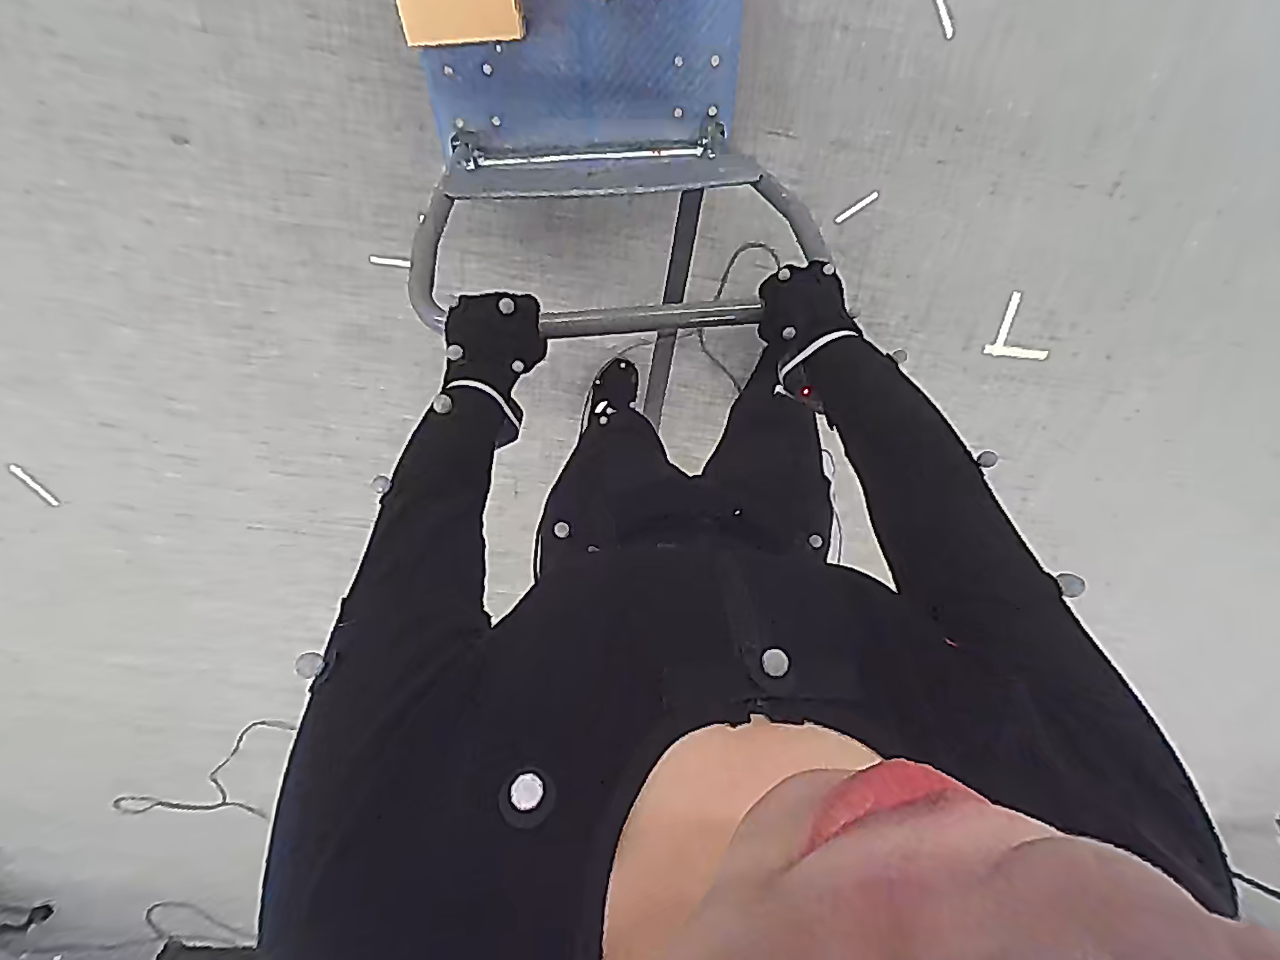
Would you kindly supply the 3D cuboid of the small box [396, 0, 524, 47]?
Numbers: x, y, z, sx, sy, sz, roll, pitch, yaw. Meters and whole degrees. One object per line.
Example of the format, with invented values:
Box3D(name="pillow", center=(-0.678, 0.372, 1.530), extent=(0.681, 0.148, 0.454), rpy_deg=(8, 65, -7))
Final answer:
Box3D(name="small box", center=(-0.283, -0.782, 0.836), extent=(0.179, 0.176, 0.168), rpy_deg=(-9, 130, -4))
